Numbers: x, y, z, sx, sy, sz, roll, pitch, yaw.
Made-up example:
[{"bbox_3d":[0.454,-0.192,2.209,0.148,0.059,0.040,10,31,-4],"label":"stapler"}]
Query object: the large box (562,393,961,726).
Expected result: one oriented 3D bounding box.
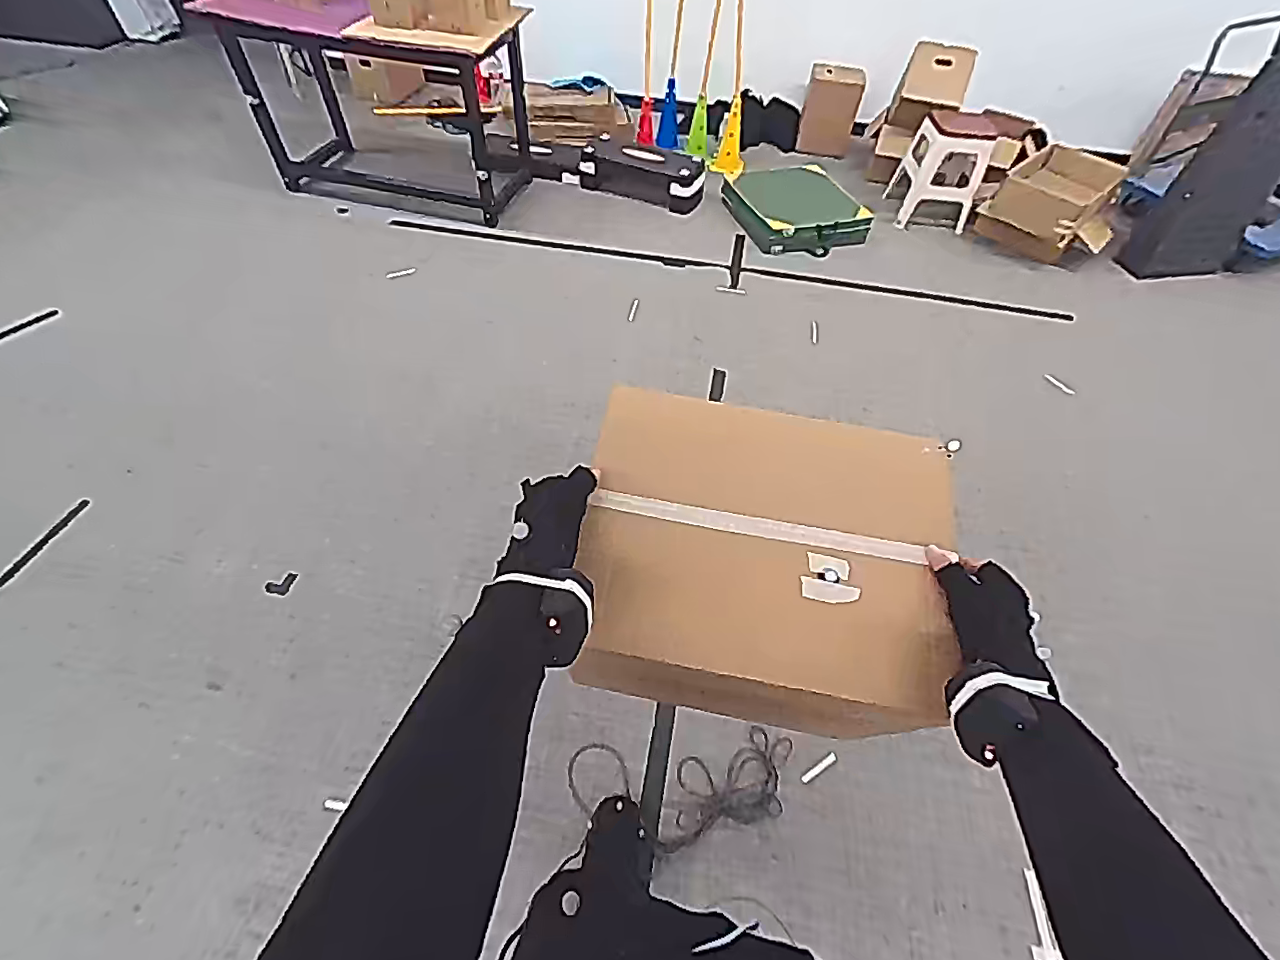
[{"bbox_3d":[0.135,0.122,0.729,0.408,0.320,0.320,10,63,4],"label":"large box"}]
